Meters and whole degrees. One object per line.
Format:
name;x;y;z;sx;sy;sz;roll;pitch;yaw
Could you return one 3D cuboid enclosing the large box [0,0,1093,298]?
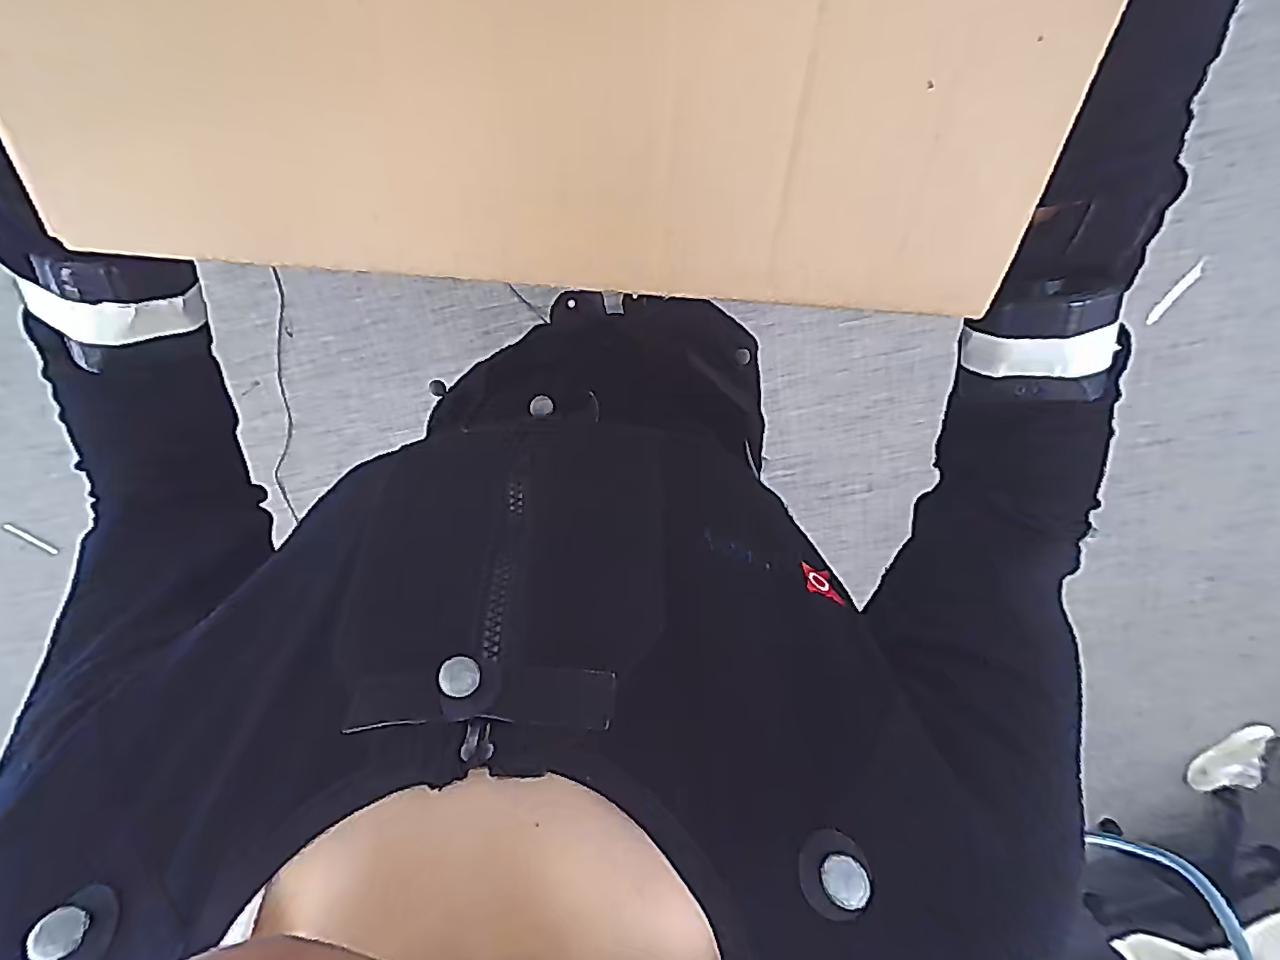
large box;-0.035;-0.303;0.280;0.408;0.320;0.320;4;126;-2
